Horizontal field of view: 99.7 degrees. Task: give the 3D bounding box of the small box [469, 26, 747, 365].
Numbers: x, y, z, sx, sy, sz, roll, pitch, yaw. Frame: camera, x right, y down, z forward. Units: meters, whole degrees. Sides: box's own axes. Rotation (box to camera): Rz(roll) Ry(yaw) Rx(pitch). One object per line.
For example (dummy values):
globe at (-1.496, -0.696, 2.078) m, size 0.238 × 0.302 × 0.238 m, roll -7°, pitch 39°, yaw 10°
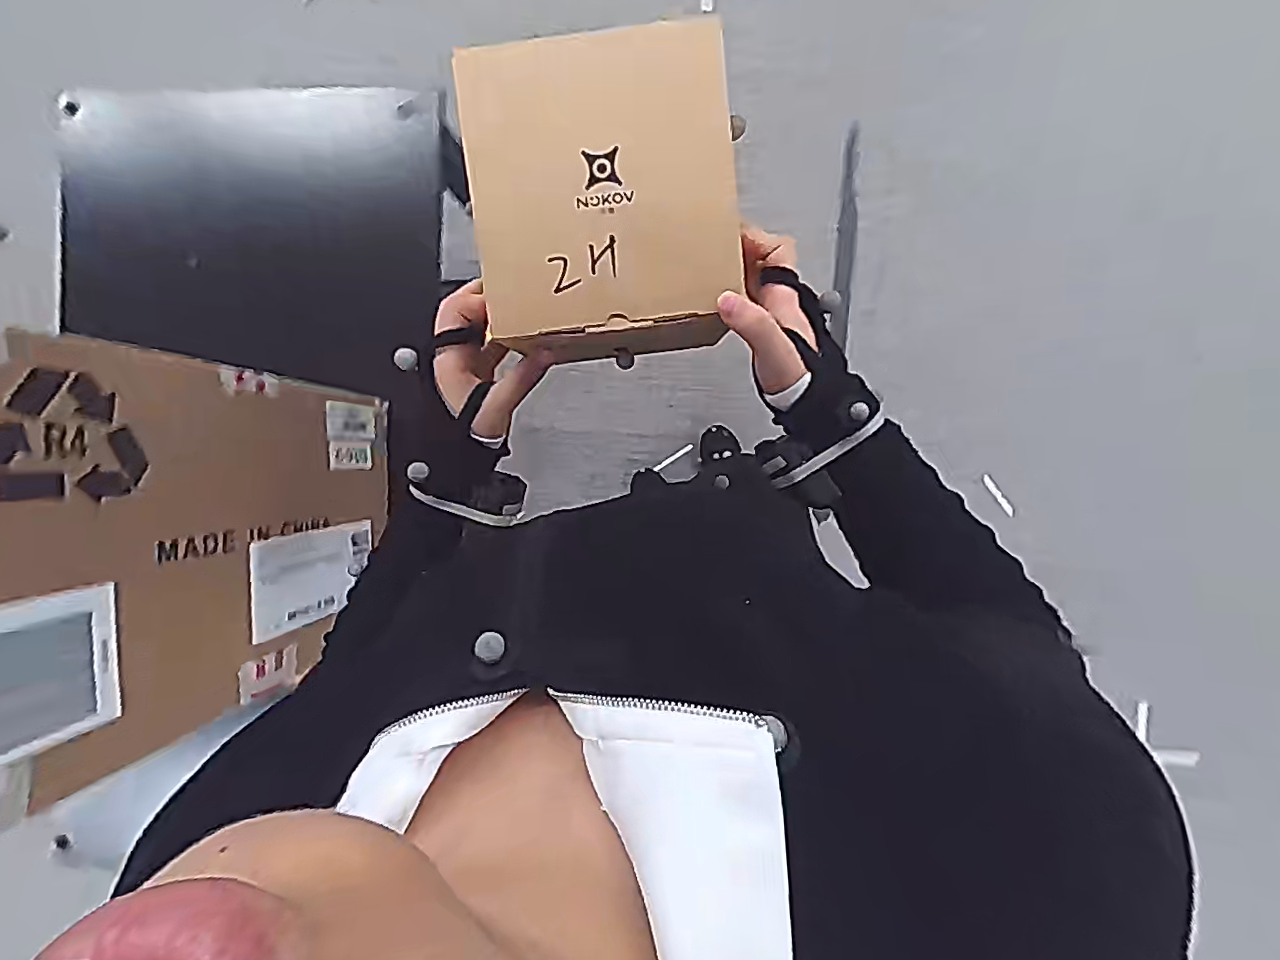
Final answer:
small box at (-0.018, -0.192, 0.417) m, size 0.168 × 0.176 × 0.179 m, roll -5°, pitch 96°, yaw 2°
